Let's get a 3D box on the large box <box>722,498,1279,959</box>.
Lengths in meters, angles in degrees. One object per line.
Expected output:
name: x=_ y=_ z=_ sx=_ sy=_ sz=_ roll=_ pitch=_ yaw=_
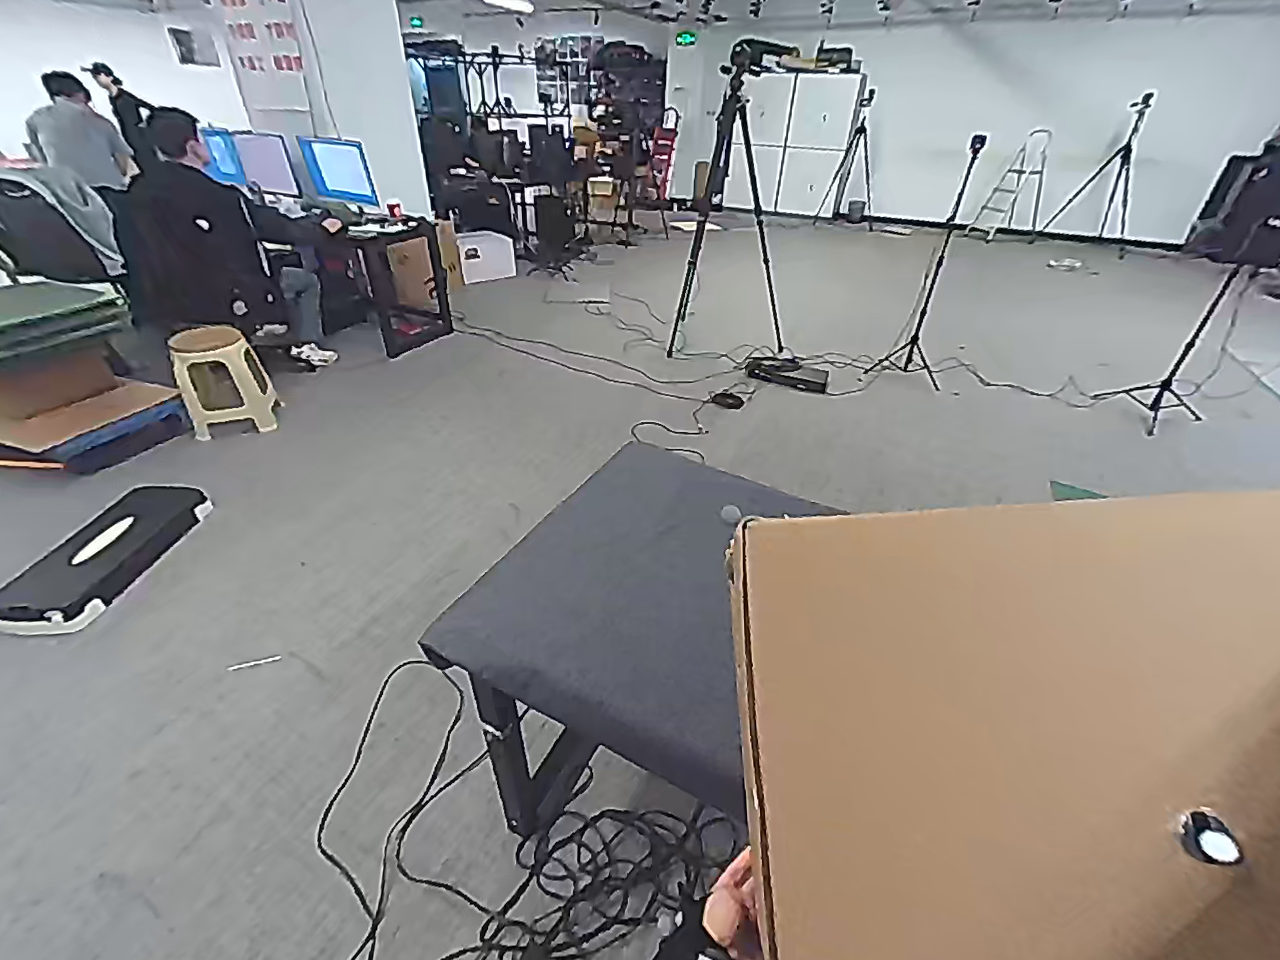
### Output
large box: x=0.287 y=0.195 z=0.416 sx=0.408 sy=0.320 sz=0.320 roll=-6 pitch=78 yaw=5
